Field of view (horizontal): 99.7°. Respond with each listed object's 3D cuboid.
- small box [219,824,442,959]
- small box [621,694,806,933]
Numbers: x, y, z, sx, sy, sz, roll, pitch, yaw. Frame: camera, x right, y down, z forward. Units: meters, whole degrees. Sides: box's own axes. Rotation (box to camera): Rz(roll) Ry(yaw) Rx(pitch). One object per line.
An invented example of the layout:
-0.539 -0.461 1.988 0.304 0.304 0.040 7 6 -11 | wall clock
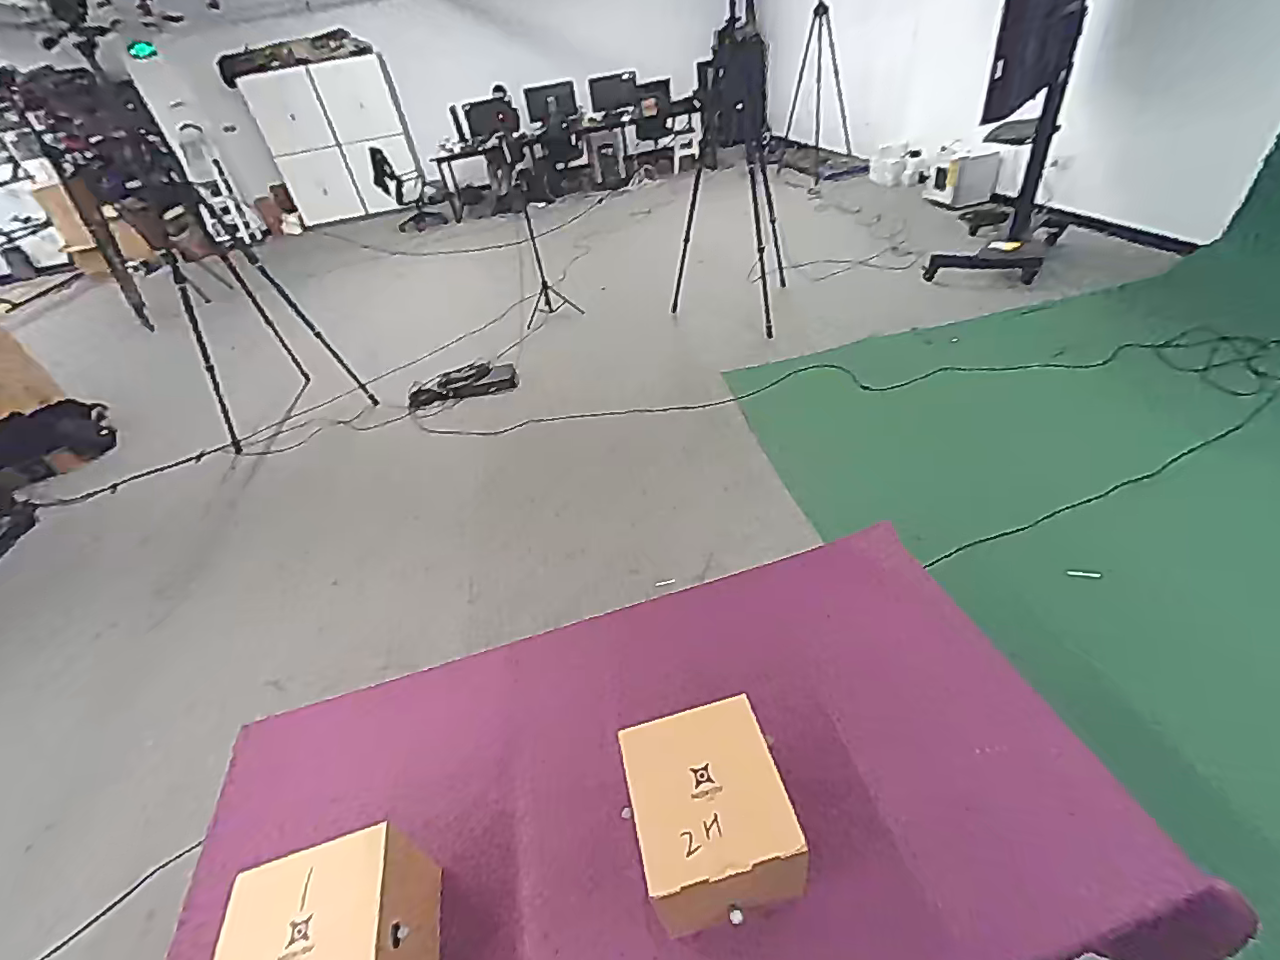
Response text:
-0.328 0.525 0.592 0.168 0.176 0.179 -16 38 -7 | small box
0.083 0.396 0.648 0.168 0.176 0.179 -15 39 -4 | small box
